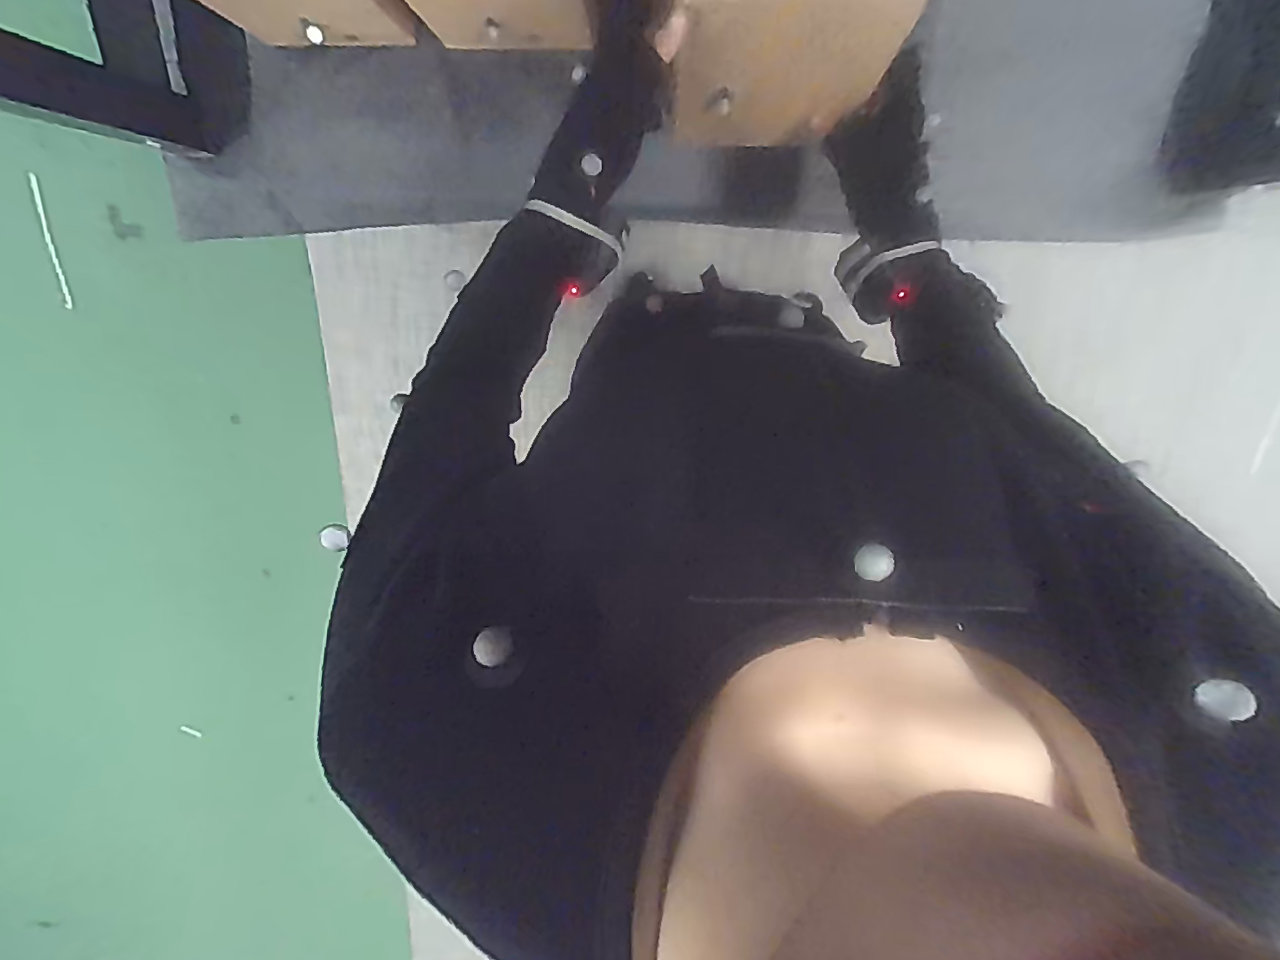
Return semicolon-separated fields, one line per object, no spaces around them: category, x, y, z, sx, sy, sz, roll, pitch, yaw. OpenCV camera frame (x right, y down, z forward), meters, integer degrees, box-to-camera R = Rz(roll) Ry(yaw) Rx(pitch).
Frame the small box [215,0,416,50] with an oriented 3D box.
small box;-0.320;-0.521;0.478;0.168;0.176;0.179;1;110;2
